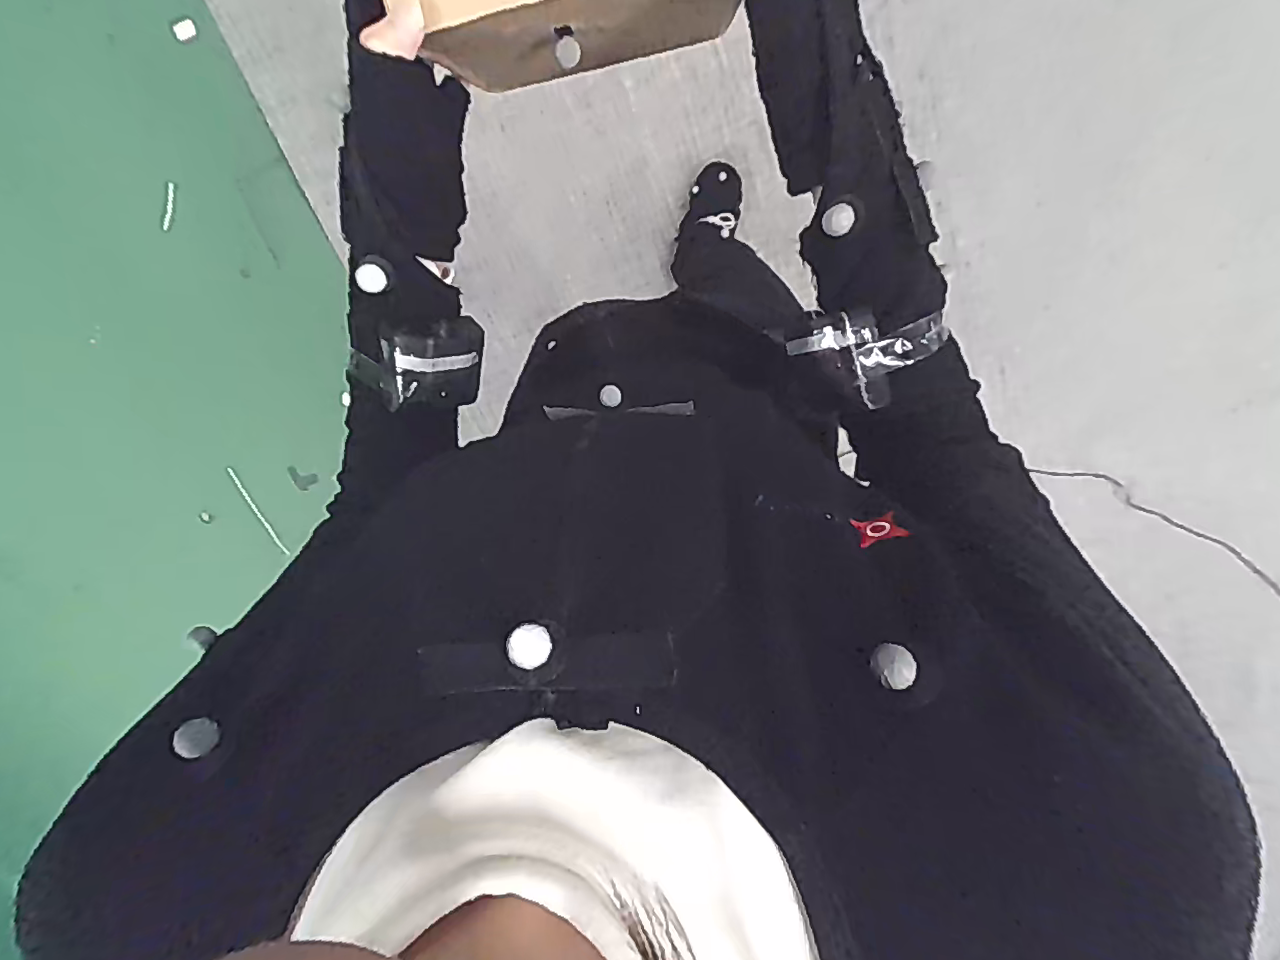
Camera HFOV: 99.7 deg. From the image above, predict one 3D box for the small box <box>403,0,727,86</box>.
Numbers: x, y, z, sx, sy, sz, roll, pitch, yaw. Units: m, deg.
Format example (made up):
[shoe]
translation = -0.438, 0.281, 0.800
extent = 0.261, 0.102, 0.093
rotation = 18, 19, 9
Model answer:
[small box]
translation = -0.040, -0.336, 0.280
extent = 0.179, 0.176, 0.168
rotation = -12, 115, 7
